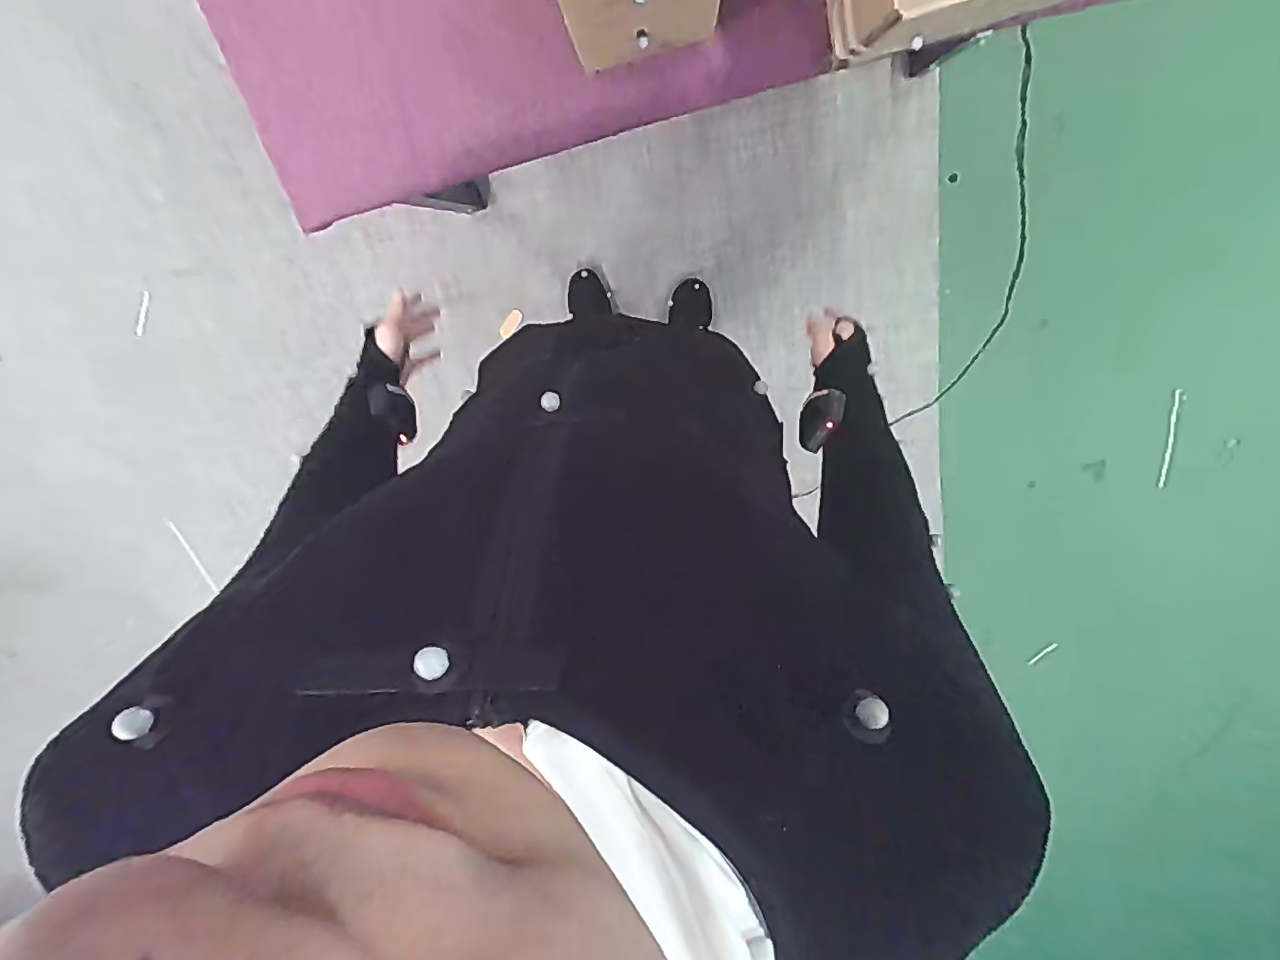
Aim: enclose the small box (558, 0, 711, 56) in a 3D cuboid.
[{"bbox_3d":[-0.014,-0.587,0.575,0.168,0.176,0.179,-11,113,6],"label":"small box"}]
